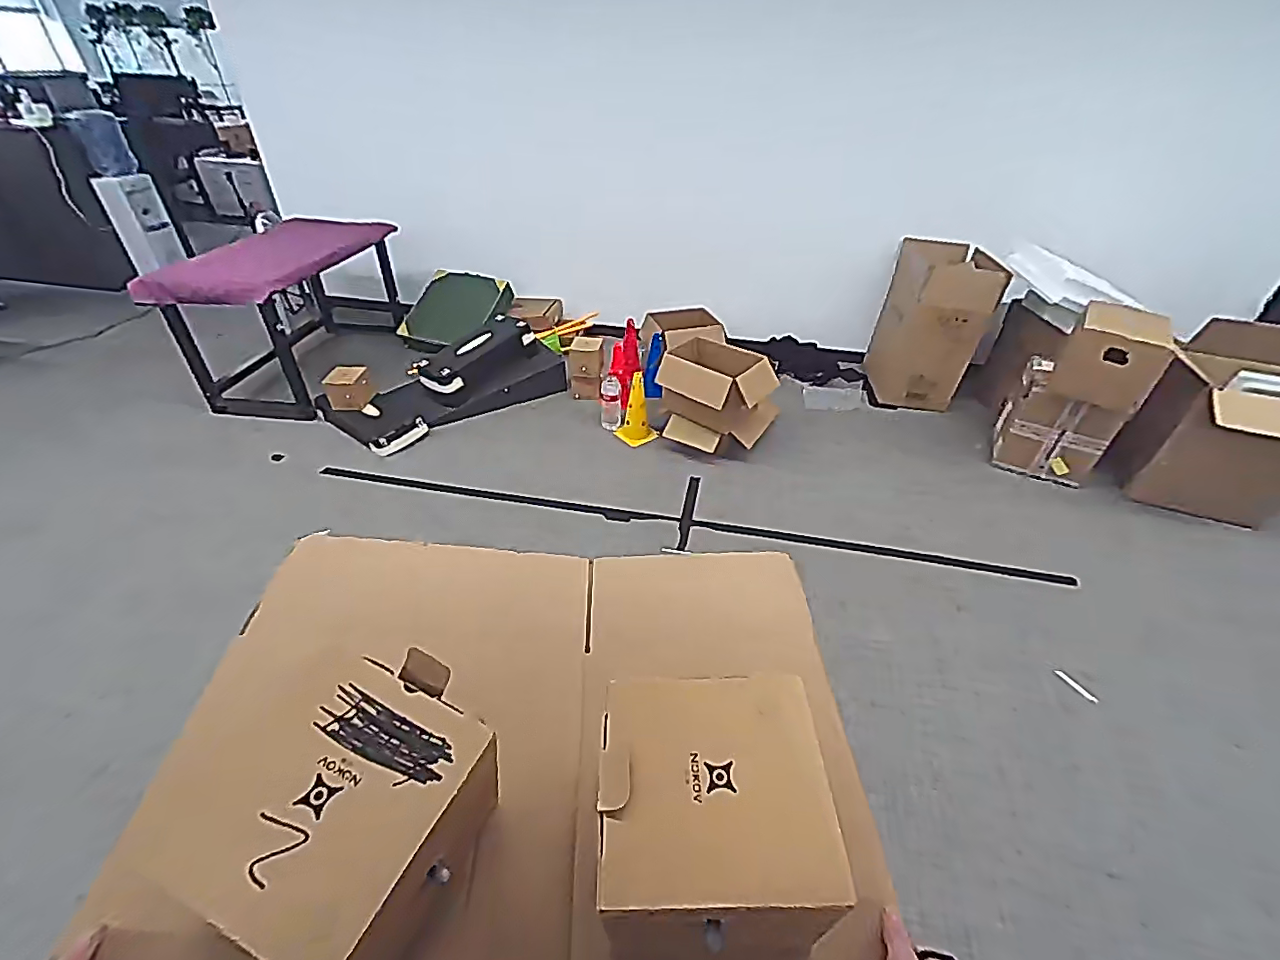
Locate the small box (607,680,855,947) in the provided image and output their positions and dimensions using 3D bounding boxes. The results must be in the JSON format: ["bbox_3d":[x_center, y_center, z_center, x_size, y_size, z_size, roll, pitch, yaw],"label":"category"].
[{"bbox_3d":[0.065,0.298,0.486,0.179,0.176,0.168,-2,42,1],"label":"small box"}]
